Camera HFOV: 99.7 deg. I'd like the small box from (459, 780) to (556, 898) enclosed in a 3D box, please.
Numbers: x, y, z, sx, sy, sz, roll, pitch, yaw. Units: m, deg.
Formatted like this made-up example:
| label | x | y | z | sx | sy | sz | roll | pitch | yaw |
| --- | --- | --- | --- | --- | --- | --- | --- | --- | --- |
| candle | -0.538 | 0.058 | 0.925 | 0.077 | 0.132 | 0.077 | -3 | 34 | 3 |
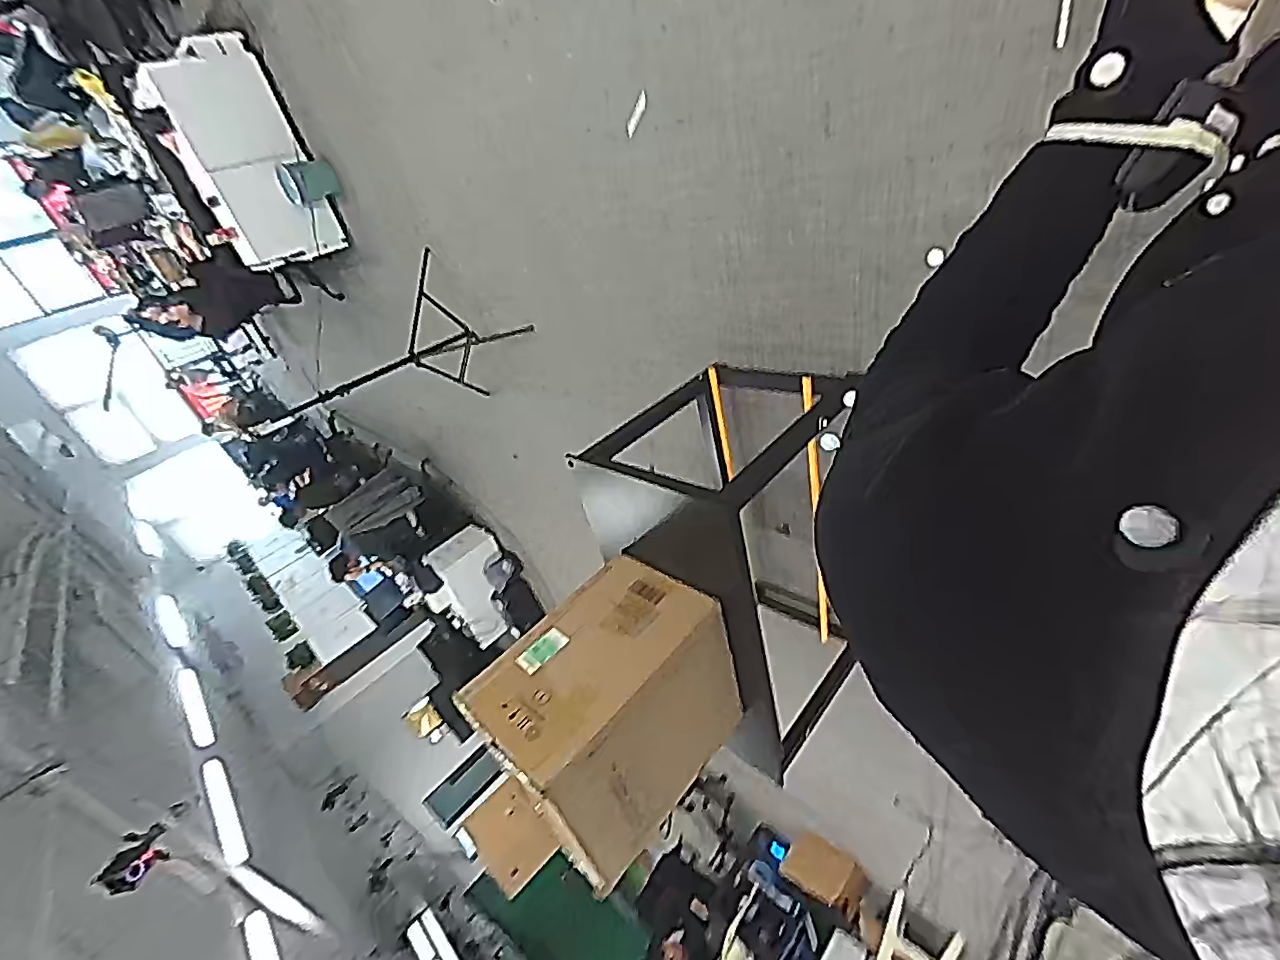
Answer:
| label | x | y | z | sx | sy | sz | roll | pitch | yaw |
| --- | --- | --- | --- | --- | --- | --- | --- | --- | --- |
| small box | -0.354 | 0.970 | 1.473 | 0.168 | 0.176 | 0.179 | 21 | 135 | 44 |
